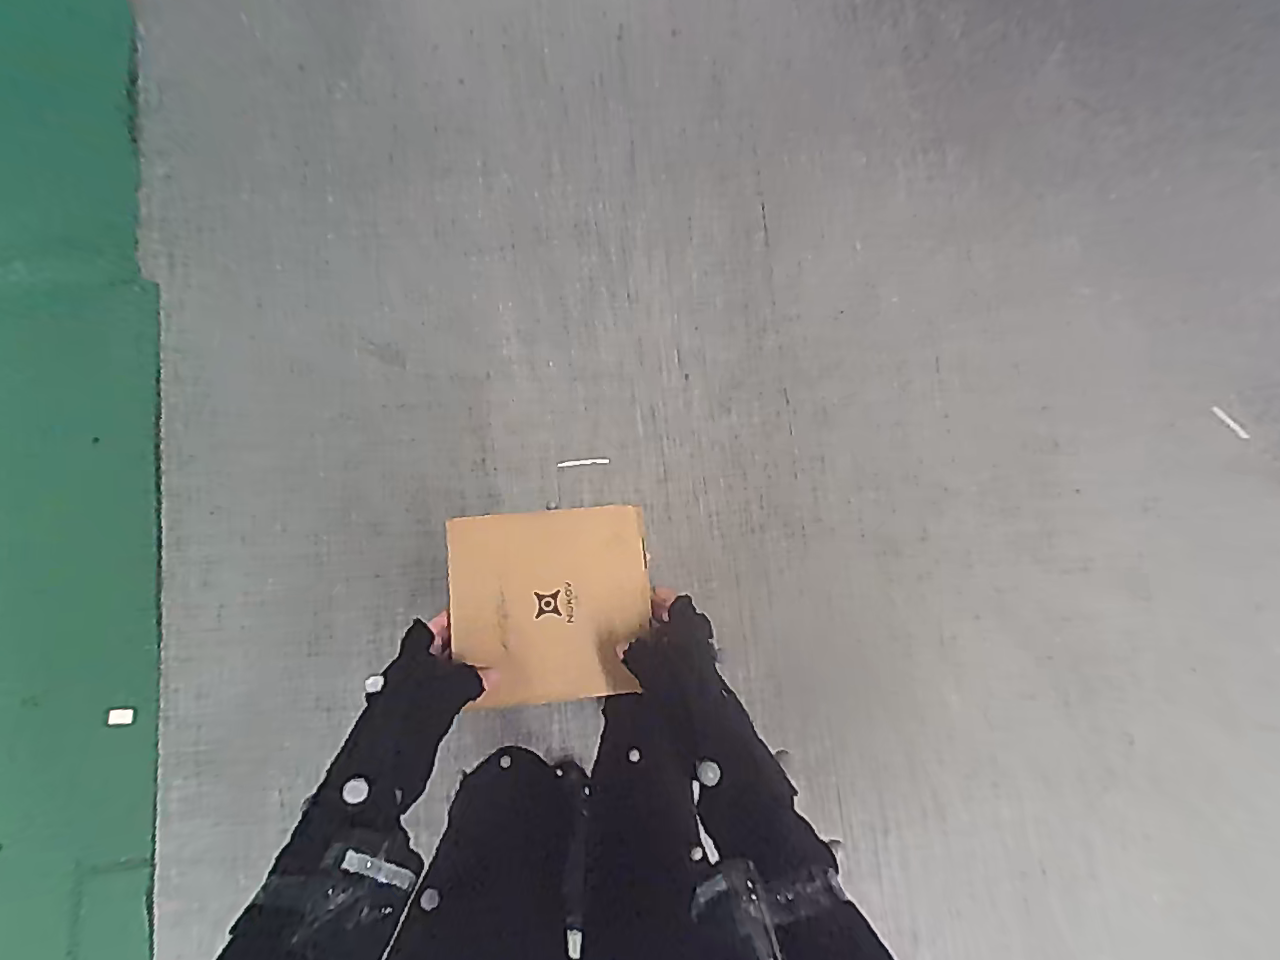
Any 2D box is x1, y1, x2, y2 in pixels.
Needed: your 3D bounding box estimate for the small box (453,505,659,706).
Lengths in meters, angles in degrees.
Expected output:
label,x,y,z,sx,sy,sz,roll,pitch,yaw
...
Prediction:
label,x,y,z,sx,sy,sz,roll,pitch,yaw
small box,-0.084,0.121,0.565,0.179,0.176,0.168,-5,81,-6
